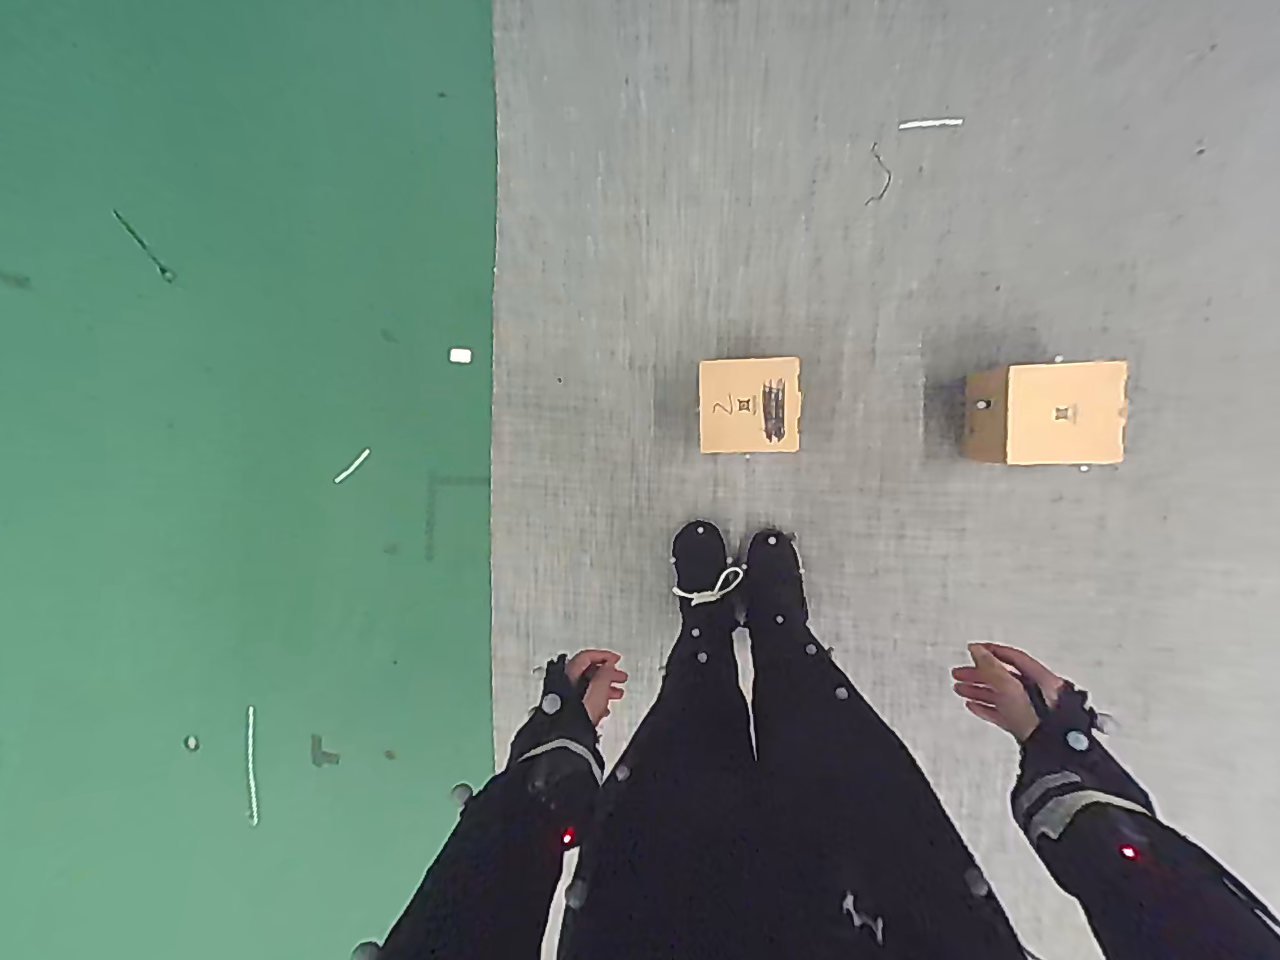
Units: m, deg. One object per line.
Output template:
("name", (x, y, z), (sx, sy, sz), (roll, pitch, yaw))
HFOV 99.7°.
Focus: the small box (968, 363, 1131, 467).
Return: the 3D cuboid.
("small box", (0.700, -0.107, 0.946), (0.179, 0.176, 0.168), (-1, 94, 9))
